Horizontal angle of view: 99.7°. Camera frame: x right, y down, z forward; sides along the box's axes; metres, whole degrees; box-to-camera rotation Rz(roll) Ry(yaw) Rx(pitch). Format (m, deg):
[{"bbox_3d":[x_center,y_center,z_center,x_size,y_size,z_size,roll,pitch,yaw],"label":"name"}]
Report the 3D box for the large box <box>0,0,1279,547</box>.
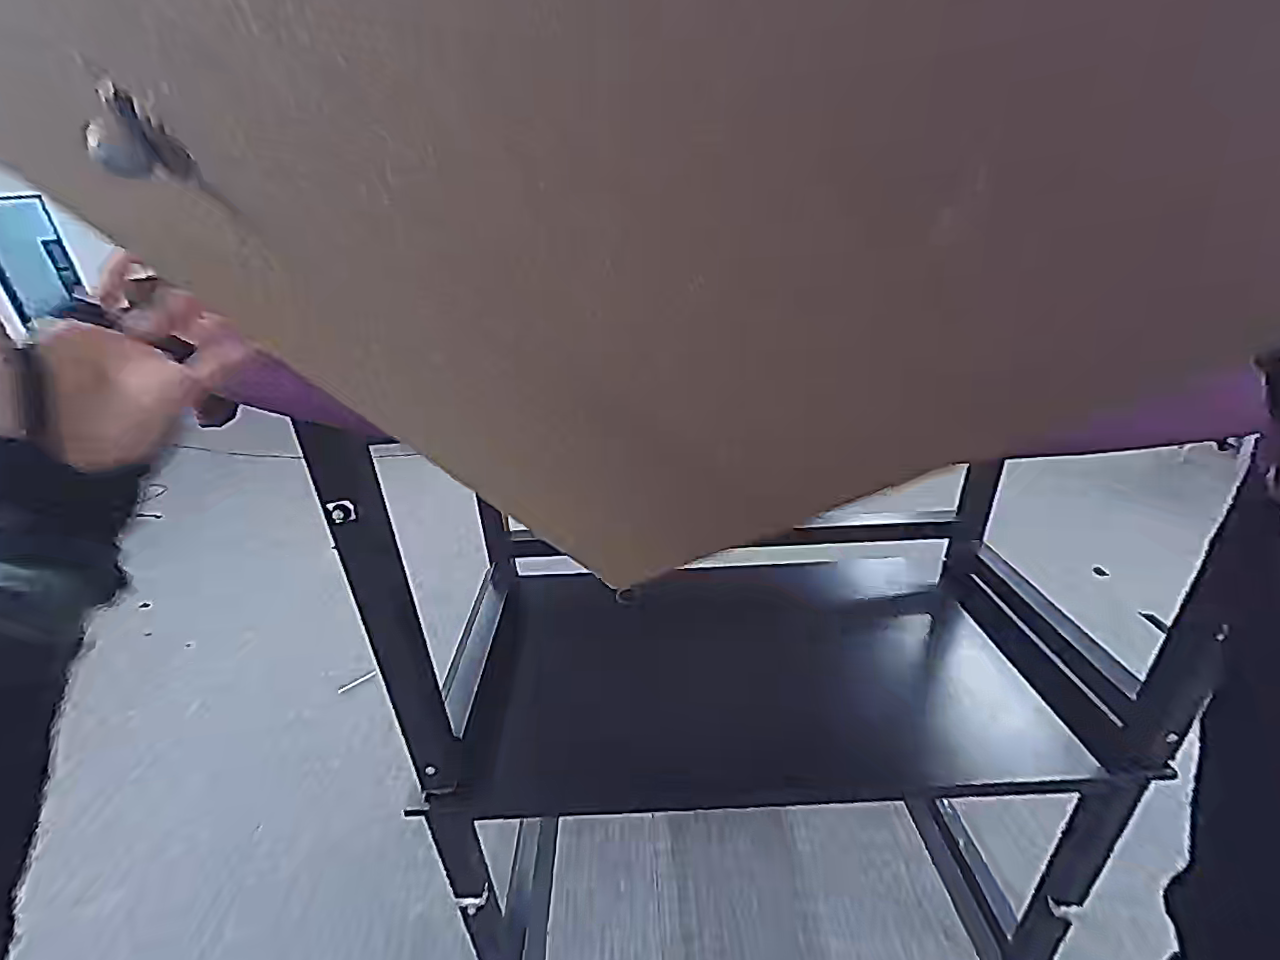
[{"bbox_3d":[-0.048,-0.226,0.204,0.408,0.320,0.320,35,65,-4],"label":"large box"}]
